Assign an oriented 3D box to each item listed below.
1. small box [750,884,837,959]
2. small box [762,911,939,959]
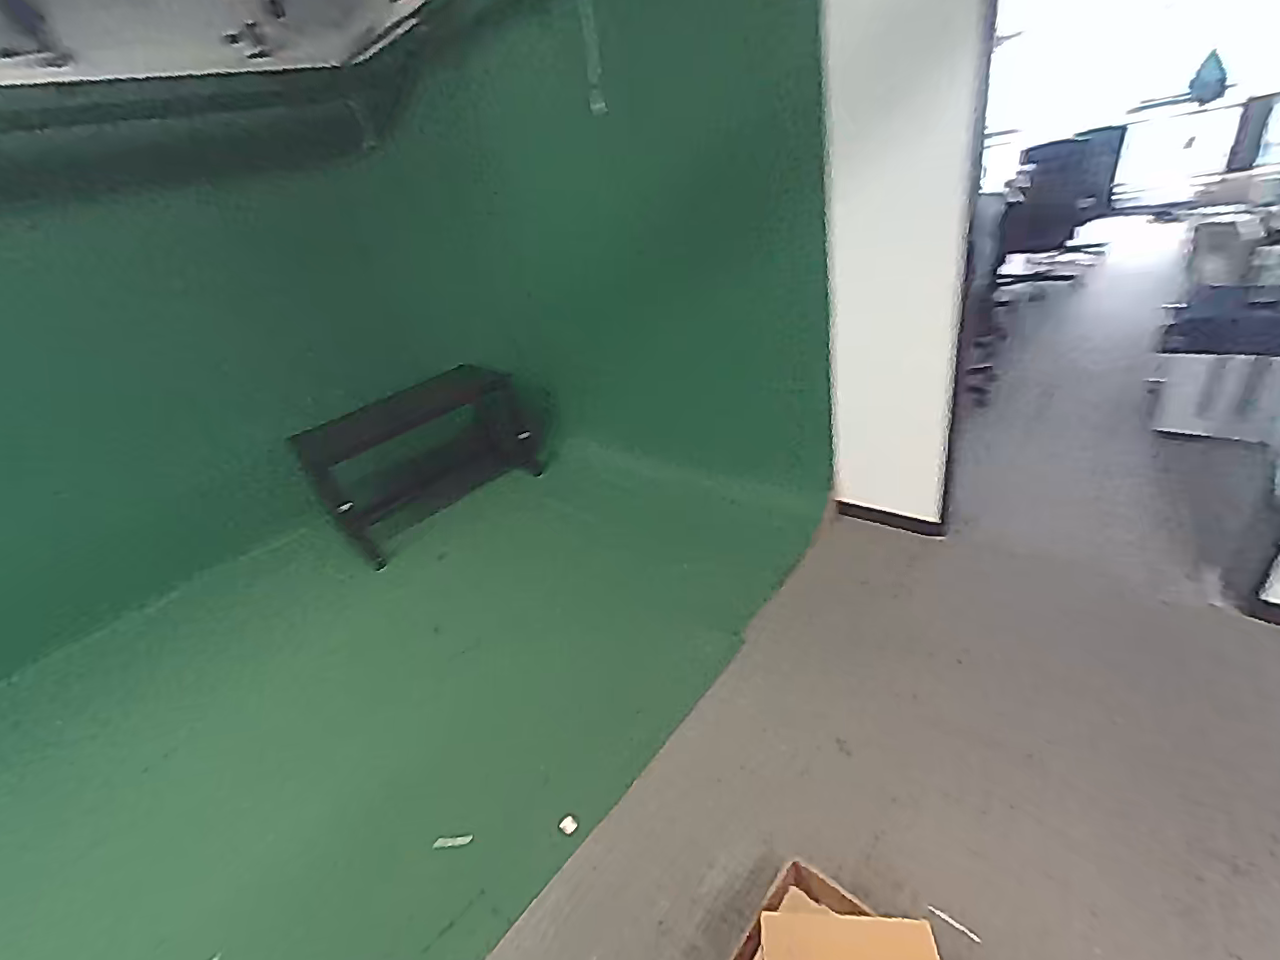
[{"bbox_3d":[0.328,0.950,1.044,0.168,0.176,0.179,17,41,40],"label":"small box"},{"bbox_3d":[0.203,0.553,0.508,0.168,0.176,0.179,-3,29,8],"label":"small box"}]
